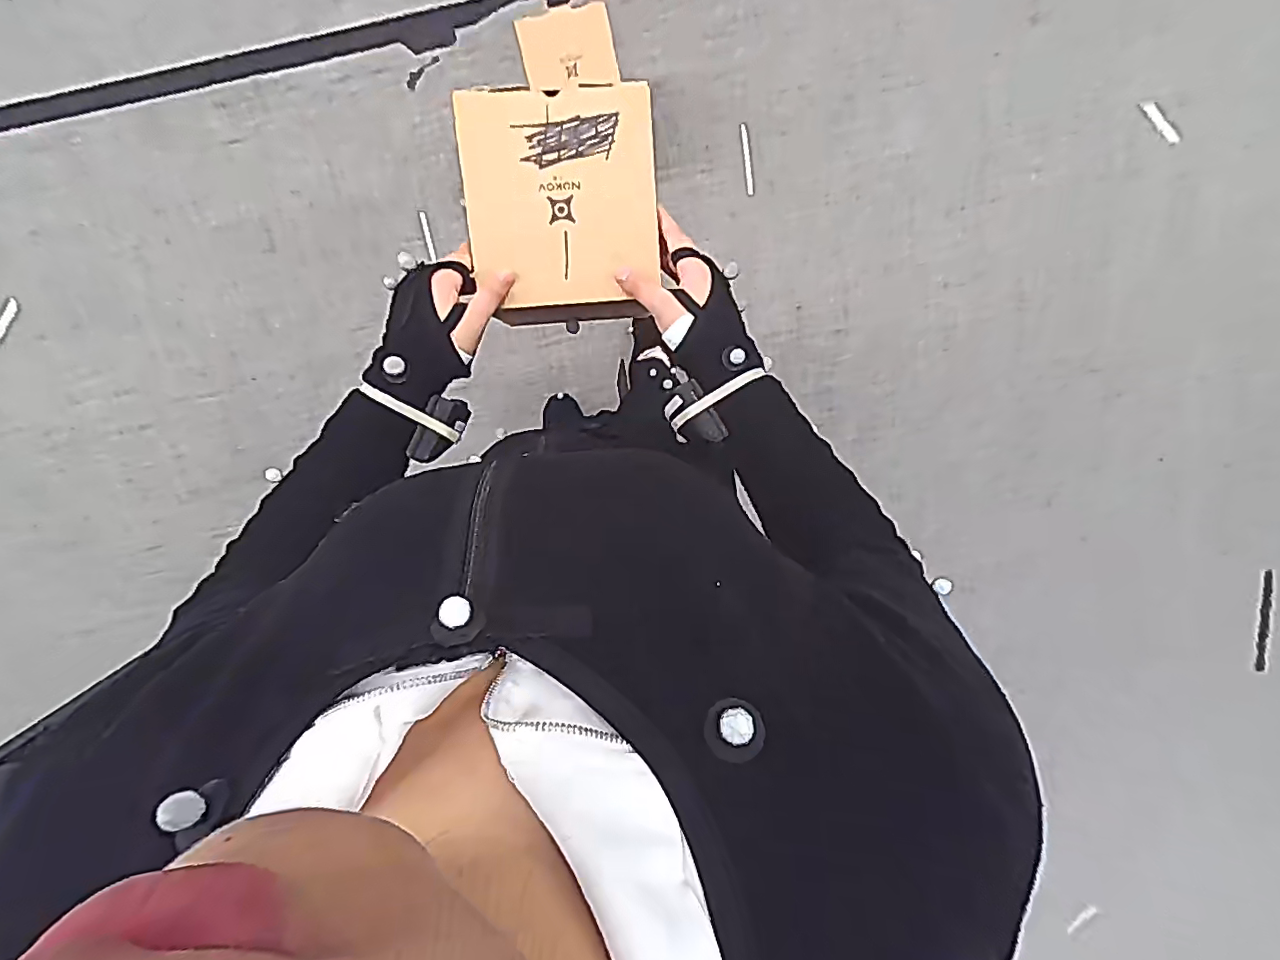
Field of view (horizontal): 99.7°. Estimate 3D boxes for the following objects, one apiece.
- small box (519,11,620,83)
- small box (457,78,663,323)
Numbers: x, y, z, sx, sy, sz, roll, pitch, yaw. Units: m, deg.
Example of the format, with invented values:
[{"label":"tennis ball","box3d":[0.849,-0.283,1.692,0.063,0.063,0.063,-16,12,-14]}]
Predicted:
[{"label":"small box","box3d":[-0.124,-0.750,1.054,0.168,0.176,0.179,-13,103,1]},{"label":"small box","box3d":[-0.071,-0.261,0.543,0.168,0.176,0.179,-5,101,-2]}]
